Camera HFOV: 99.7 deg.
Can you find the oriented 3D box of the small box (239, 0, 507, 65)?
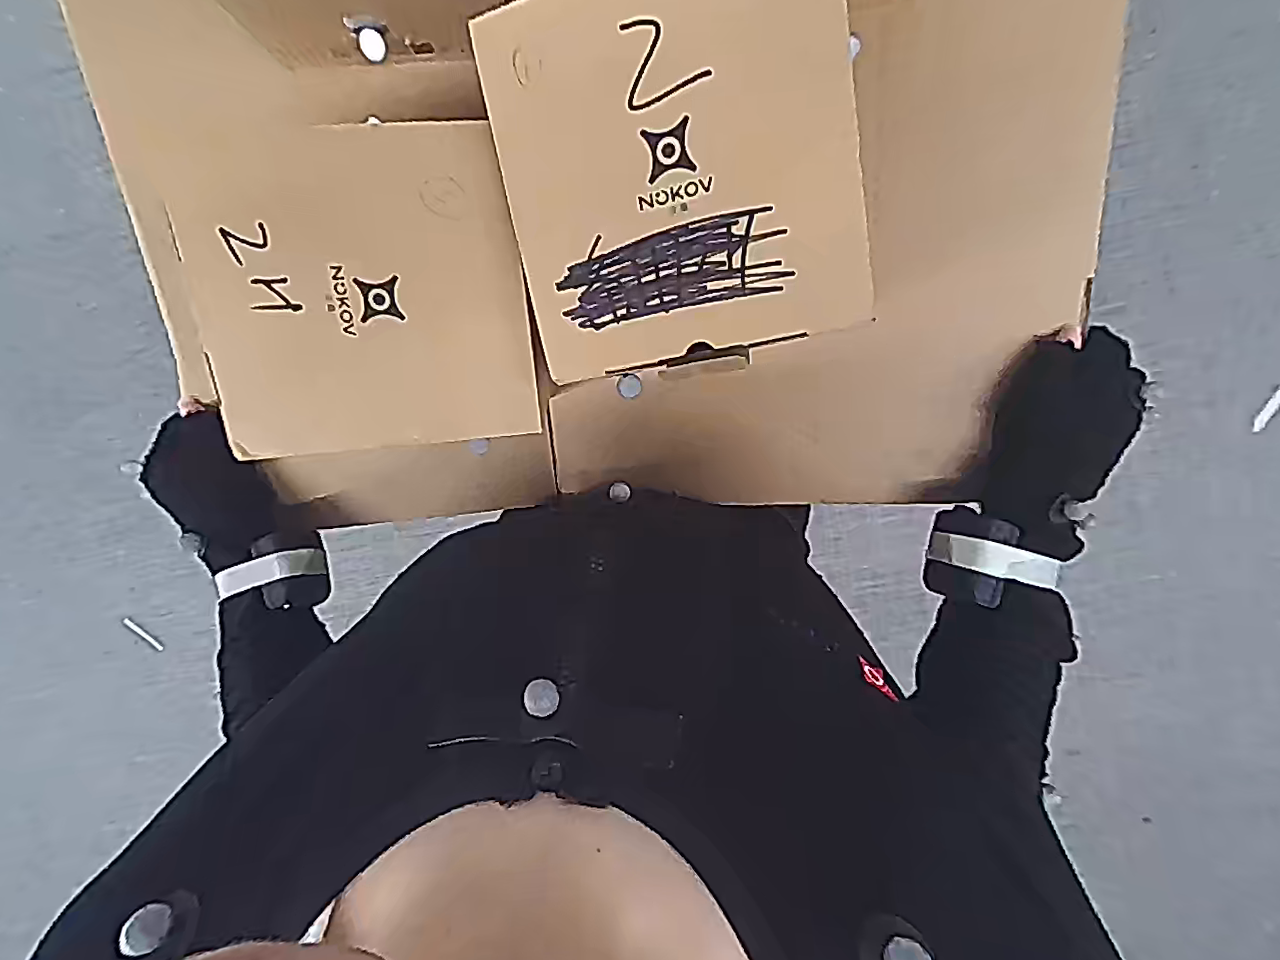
[{"bbox_3d":[-0.176,-0.374,0.302,0.168,0.176,0.179,-7,106,-6],"label":"small box"}]

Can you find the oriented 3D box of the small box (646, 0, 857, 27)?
[{"bbox_3d":[0.066,-0.366,0.264,0.168,0.176,0.179,0,105,14],"label":"small box"}]
